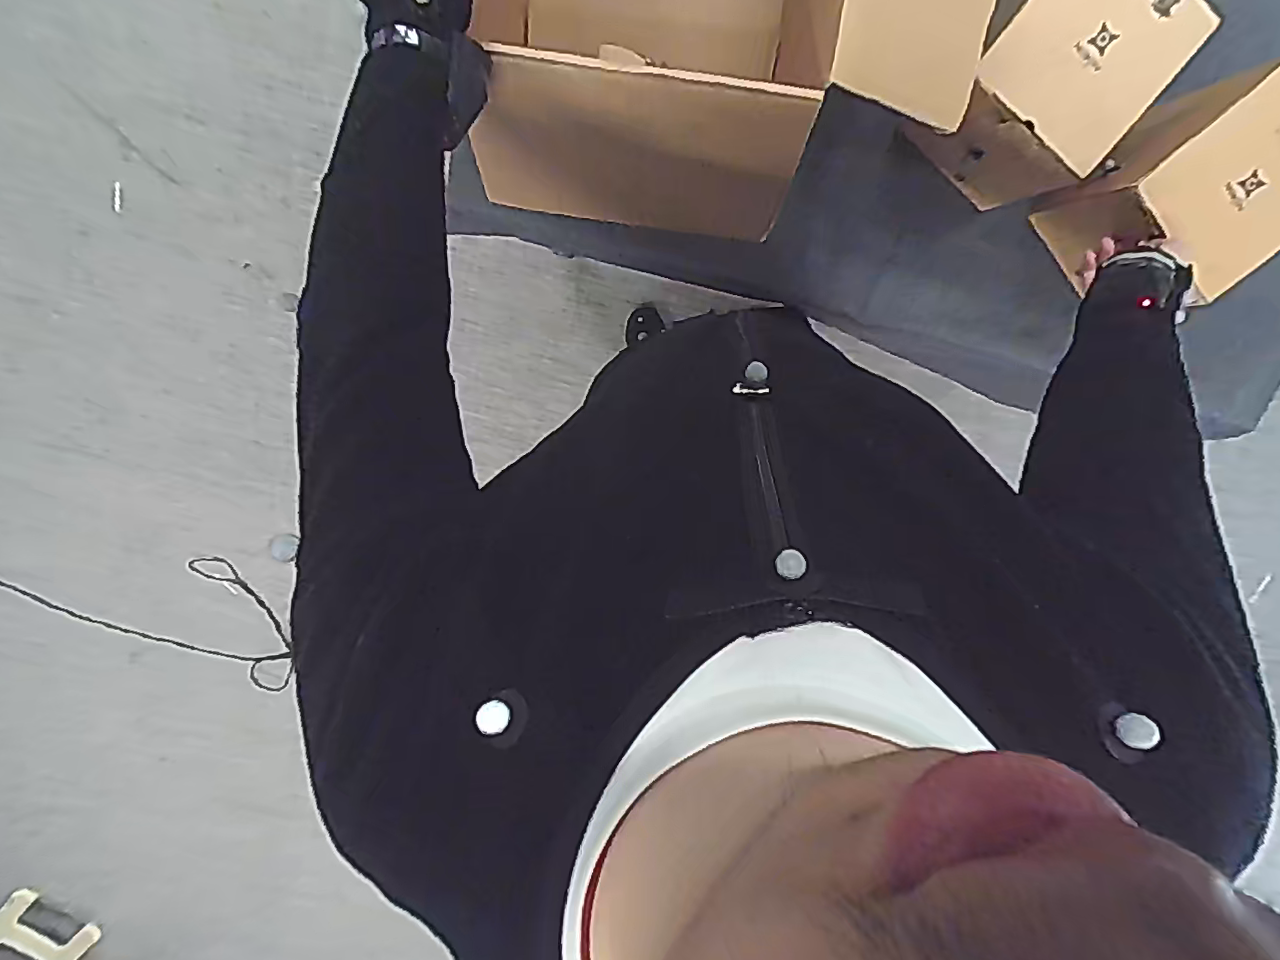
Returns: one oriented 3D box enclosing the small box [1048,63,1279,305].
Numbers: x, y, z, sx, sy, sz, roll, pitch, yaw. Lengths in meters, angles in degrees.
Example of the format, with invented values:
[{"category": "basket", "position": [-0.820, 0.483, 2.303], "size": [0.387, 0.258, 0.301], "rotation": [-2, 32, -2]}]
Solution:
[{"category": "small box", "position": [0.636, -0.326, 0.638], "size": [0.179, 0.176, 0.168], "rotation": [-43, 102, 11]}]
